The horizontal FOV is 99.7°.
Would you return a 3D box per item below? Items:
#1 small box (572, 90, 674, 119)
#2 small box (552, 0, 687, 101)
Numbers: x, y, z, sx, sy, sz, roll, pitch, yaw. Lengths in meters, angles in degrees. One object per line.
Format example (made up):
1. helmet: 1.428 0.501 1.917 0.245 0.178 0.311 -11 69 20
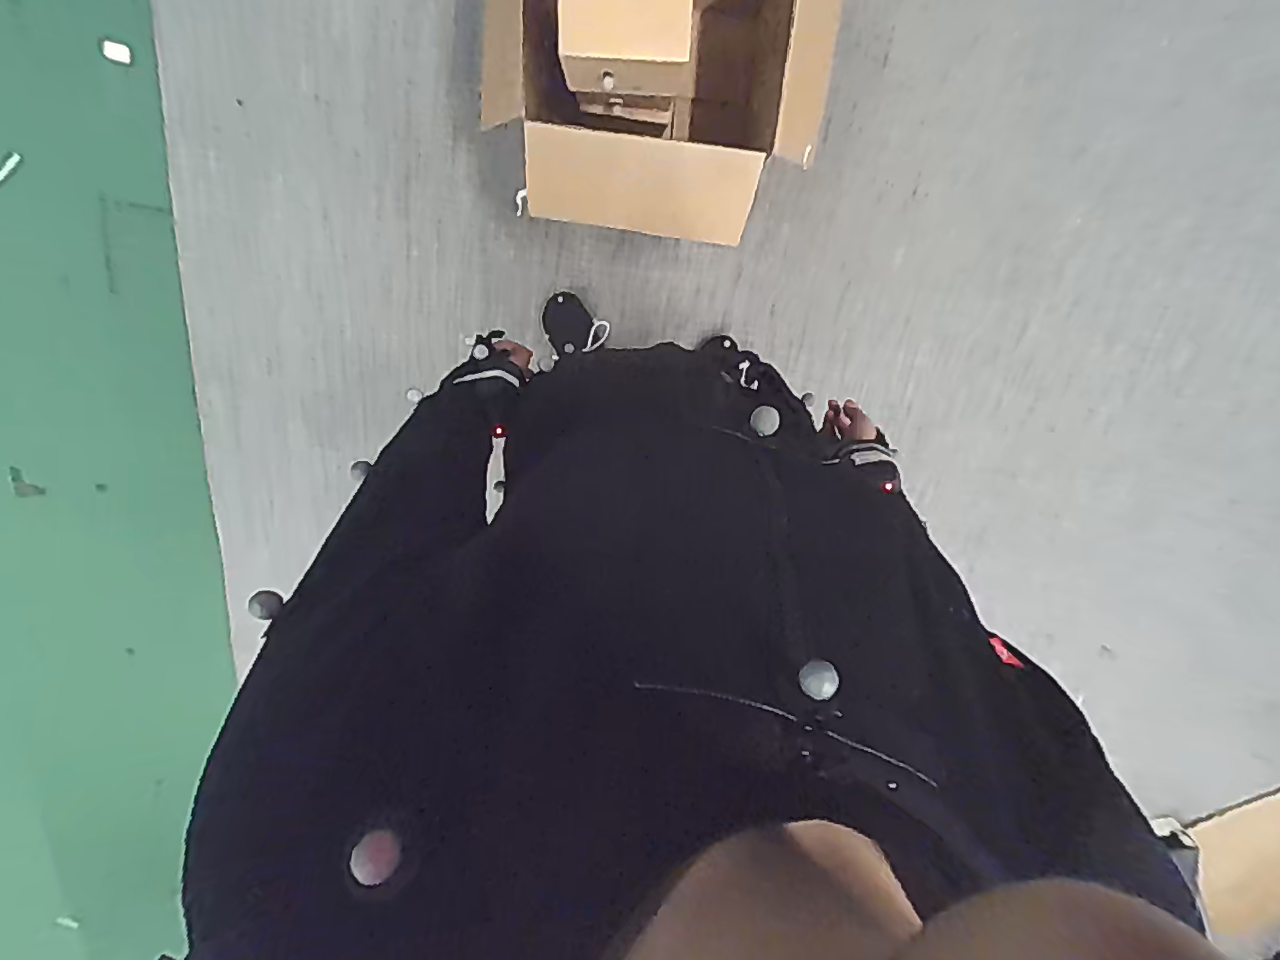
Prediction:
1. small box: -0.026 -0.702 0.858 0.168 0.176 0.179 3 113 -4
2. small box: -0.025 -0.626 0.715 0.168 0.176 0.179 1 111 -3
